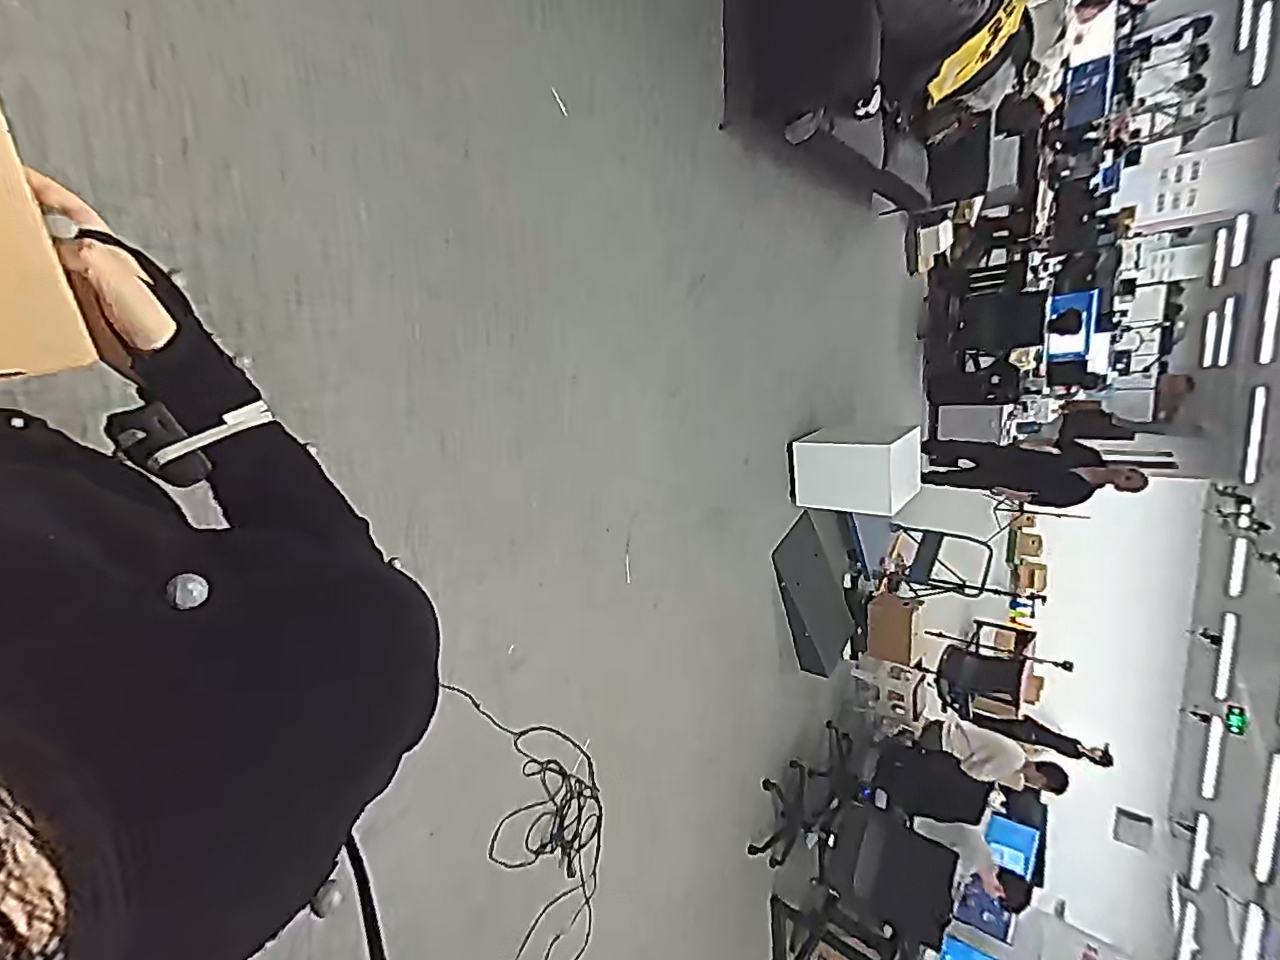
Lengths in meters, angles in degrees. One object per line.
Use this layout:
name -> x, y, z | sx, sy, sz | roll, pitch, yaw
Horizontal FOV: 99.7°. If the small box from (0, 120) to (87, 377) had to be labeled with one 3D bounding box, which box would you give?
small box -> -0.436, -0.139, 0.268 | 0.168, 0.176, 0.179 | -27, 125, -49
